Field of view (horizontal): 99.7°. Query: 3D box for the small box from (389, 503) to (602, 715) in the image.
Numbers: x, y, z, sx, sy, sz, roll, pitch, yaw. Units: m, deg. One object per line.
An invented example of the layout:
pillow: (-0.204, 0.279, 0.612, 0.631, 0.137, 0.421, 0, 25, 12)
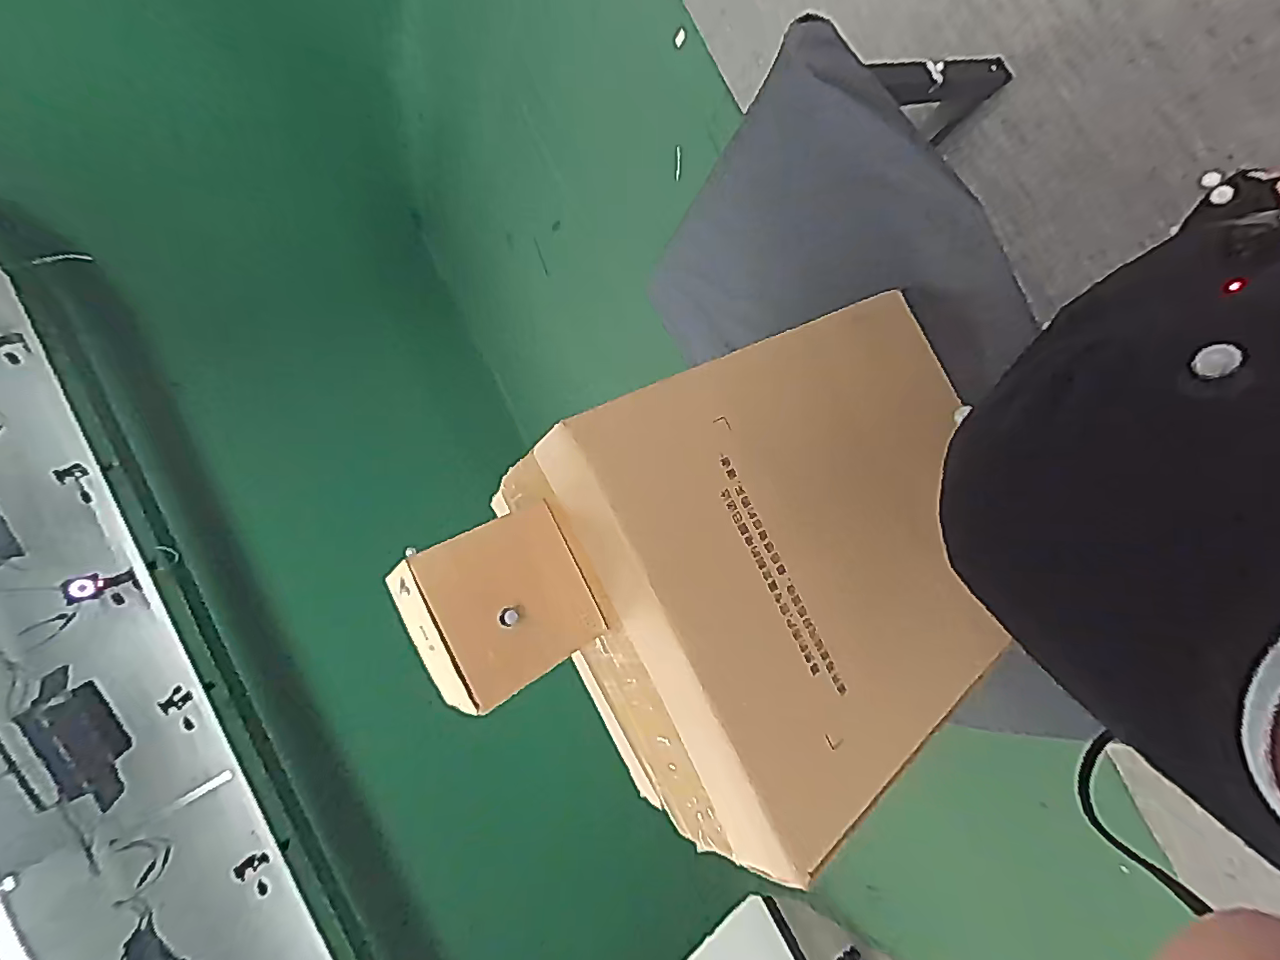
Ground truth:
small box: (-0.174, 0.151, 0.654, 0.168, 0.176, 0.179, -28, 88, 55)
